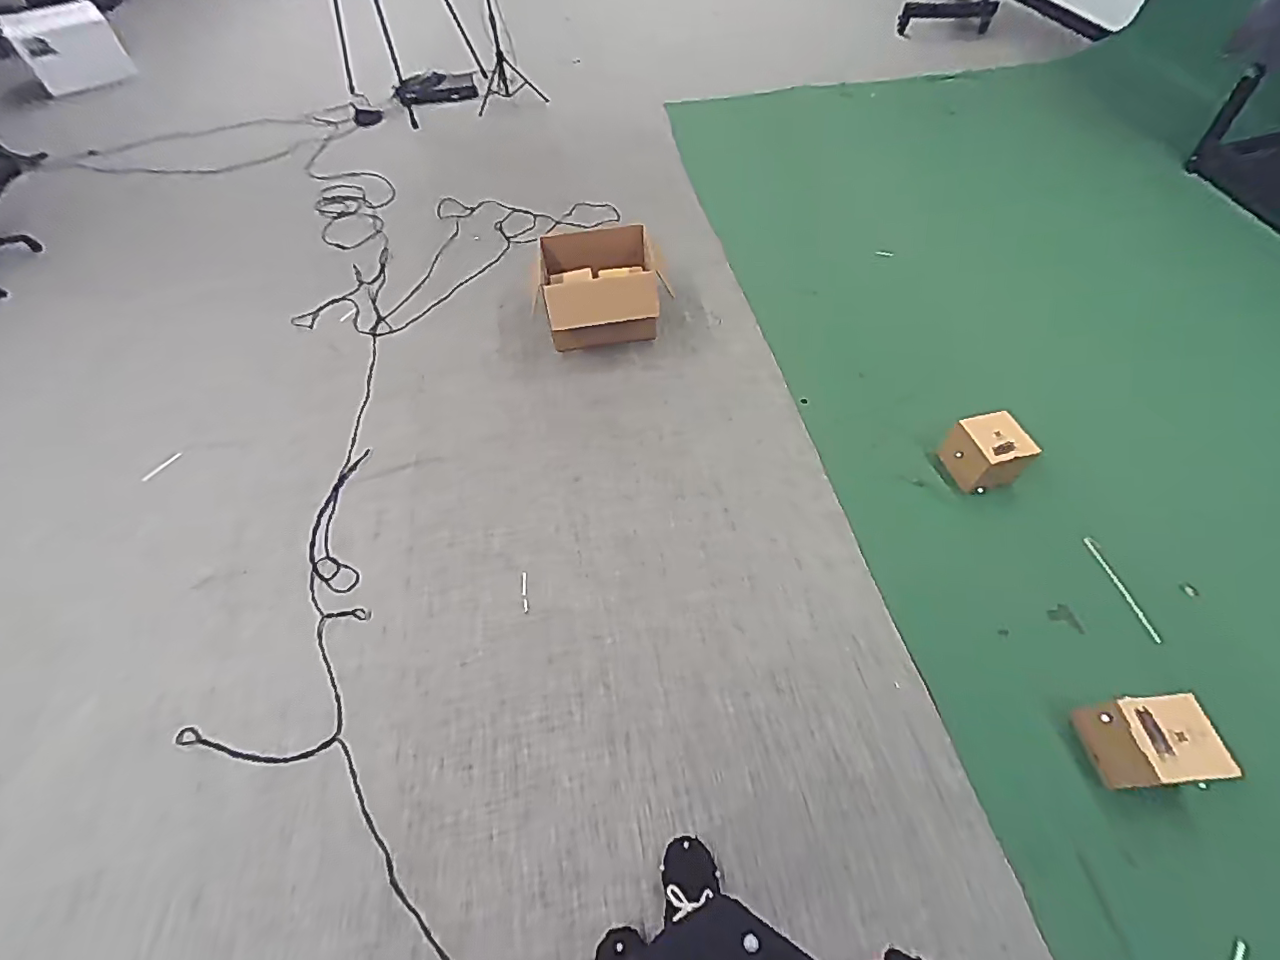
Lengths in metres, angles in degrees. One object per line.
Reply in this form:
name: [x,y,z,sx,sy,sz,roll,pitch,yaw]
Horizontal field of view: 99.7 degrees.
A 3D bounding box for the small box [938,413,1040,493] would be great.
small box: [1.072,-0.076,1.677,0.168,0.176,0.179,-11,55,-6]
